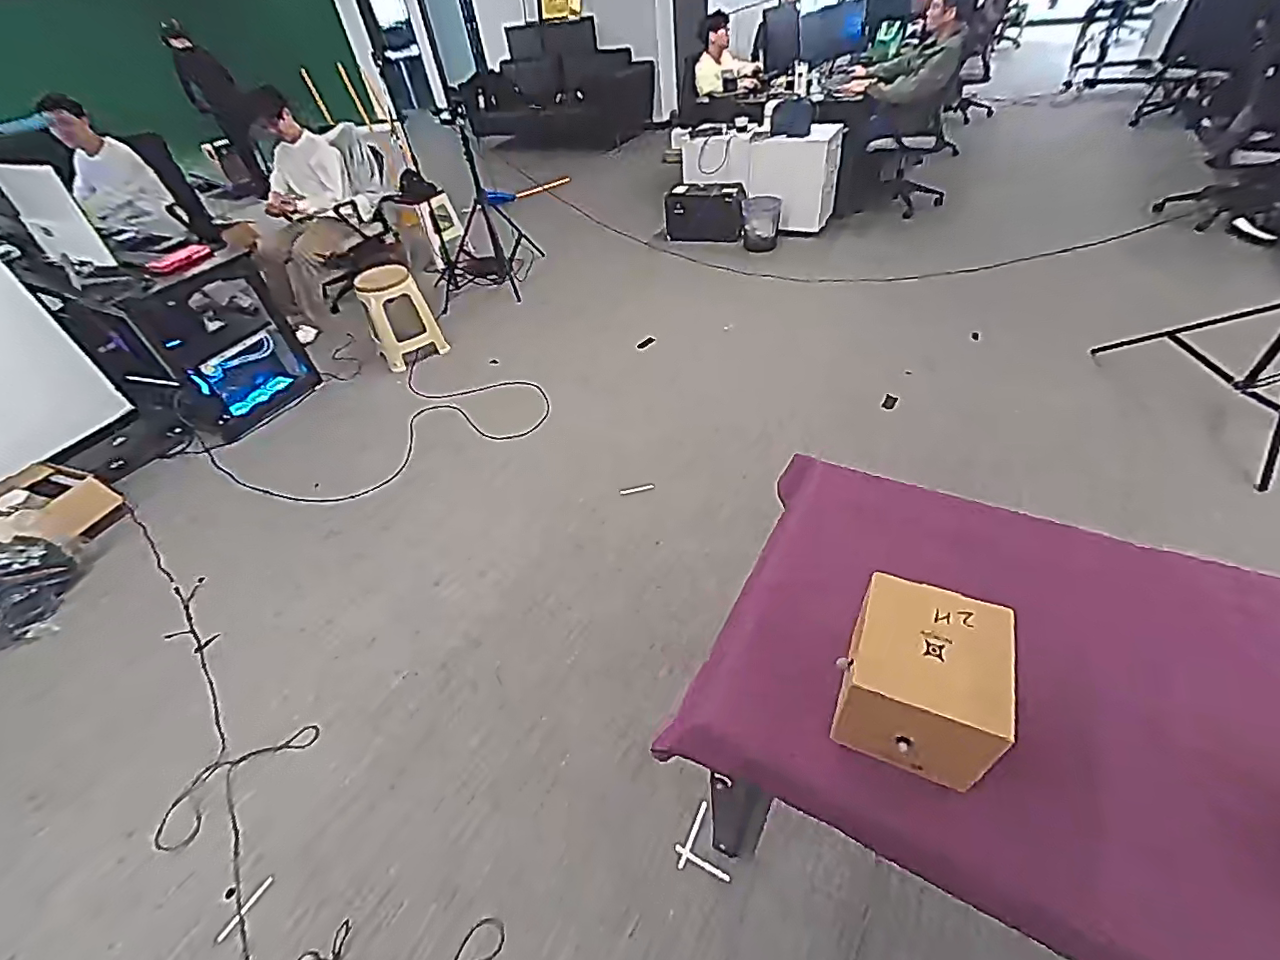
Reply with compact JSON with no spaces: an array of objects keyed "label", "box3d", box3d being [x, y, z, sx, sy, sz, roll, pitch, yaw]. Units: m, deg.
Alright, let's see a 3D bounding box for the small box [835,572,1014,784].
[{"label":"small box","box3d":[0.360,0.256,0.701,0.168,0.176,0.179,15,47,22]}]
